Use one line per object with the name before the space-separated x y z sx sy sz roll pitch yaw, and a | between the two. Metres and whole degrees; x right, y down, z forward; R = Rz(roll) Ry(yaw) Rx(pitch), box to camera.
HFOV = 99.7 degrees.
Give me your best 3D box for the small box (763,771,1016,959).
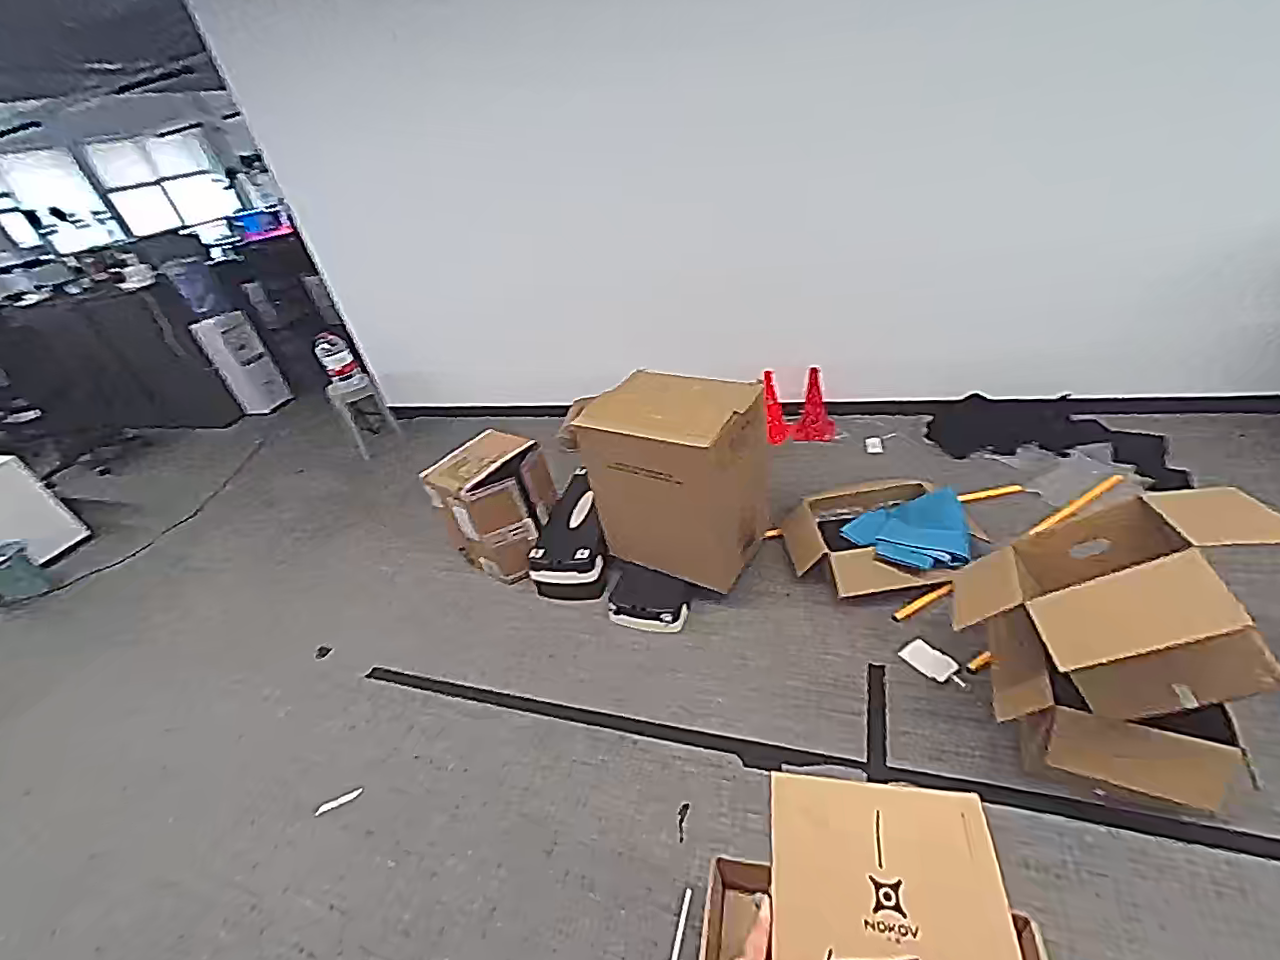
small box | 0.187 0.369 0.439 0.168 0.176 0.179 -1 41 13
